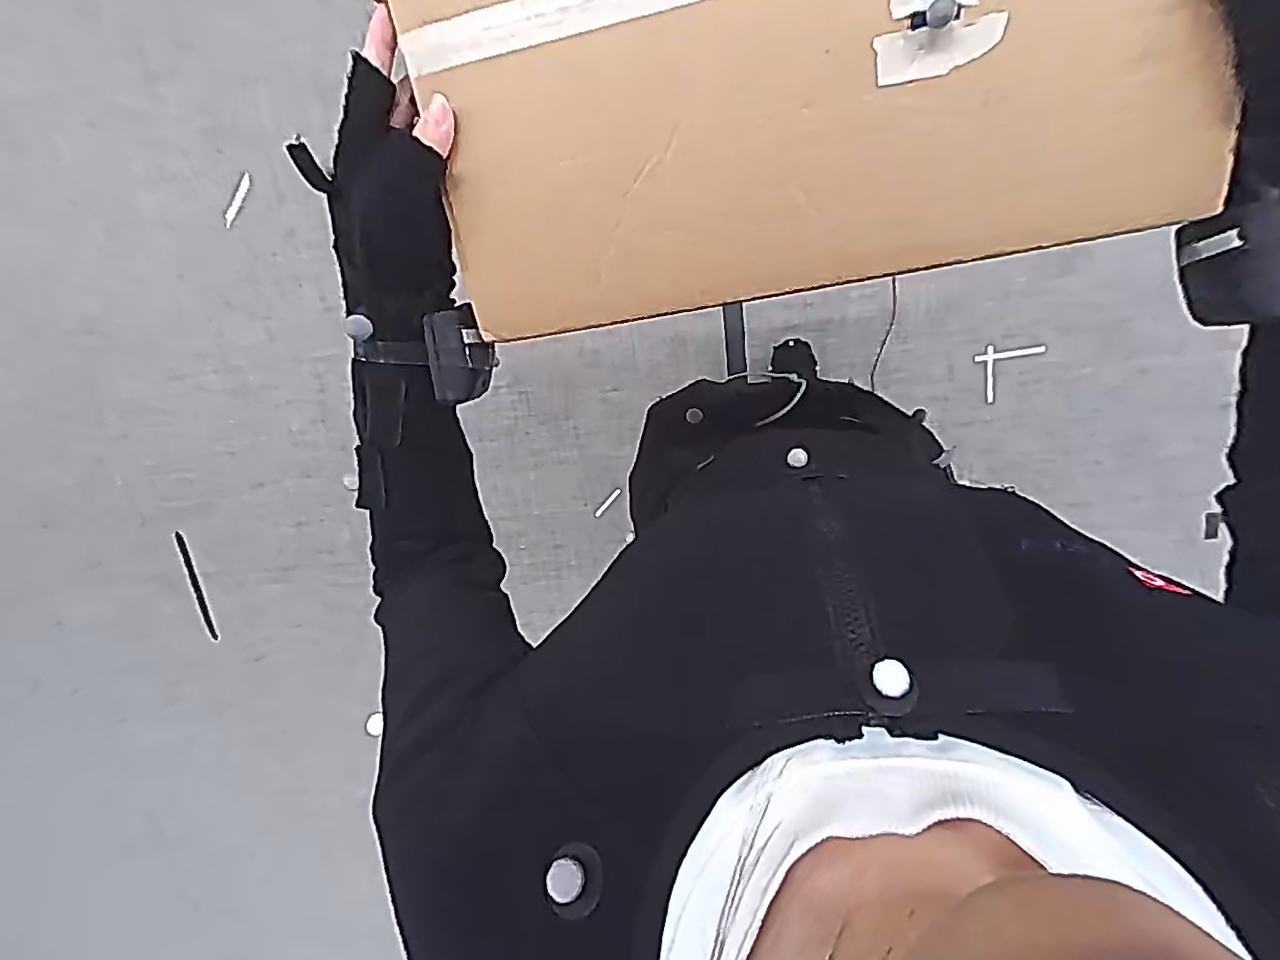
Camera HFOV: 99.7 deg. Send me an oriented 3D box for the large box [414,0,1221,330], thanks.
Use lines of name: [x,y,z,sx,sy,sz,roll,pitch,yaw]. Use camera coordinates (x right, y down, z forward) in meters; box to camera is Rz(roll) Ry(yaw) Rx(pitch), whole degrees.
large box: [0.089,-0.317,0.412,0.408,0.320,0.320,-8,110,10]

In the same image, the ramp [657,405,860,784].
ramp: [0.310,0.316,1.445,0.509,0.206,0.991,-4,102,11]
